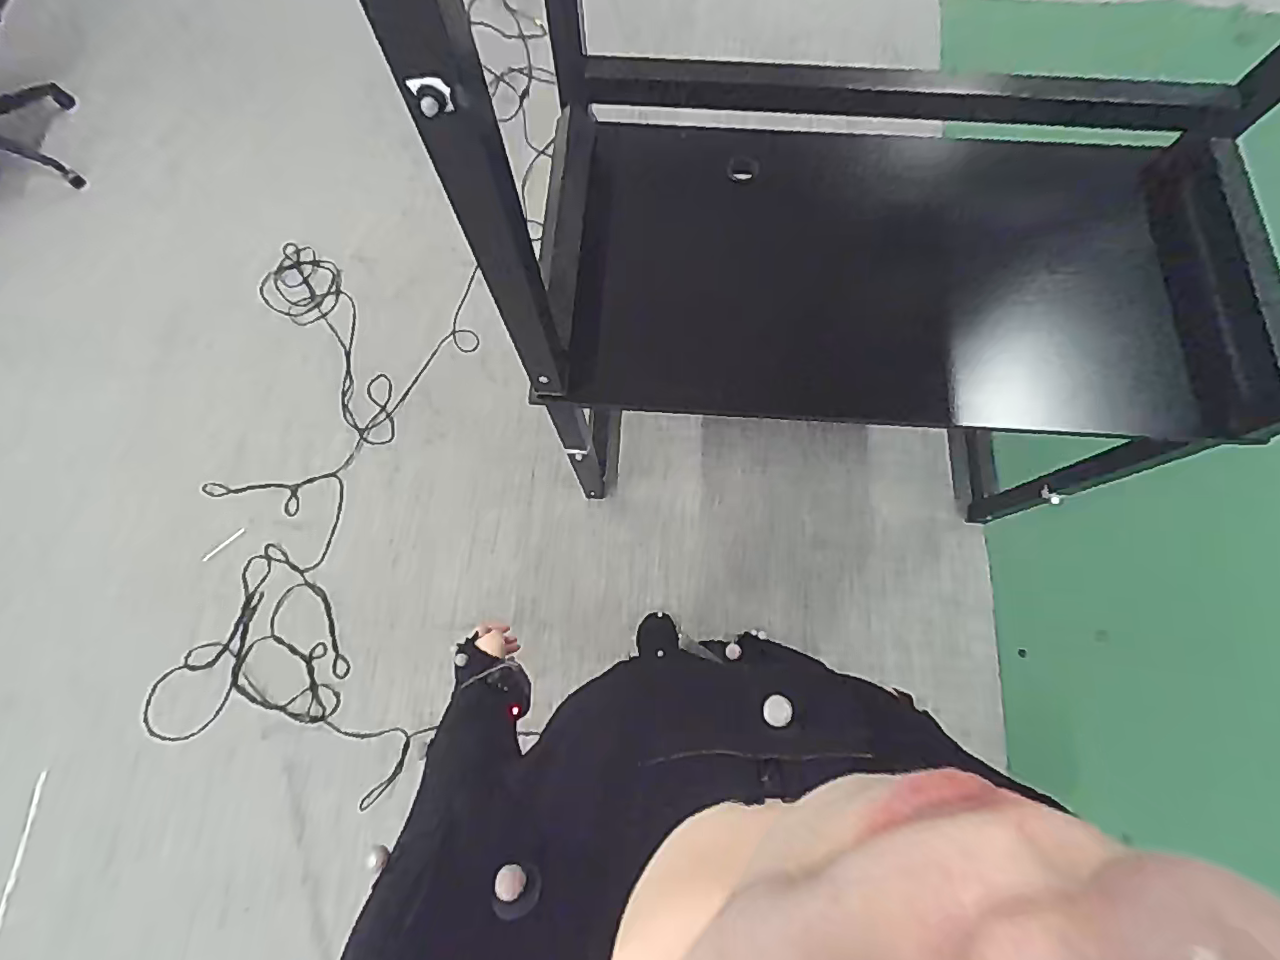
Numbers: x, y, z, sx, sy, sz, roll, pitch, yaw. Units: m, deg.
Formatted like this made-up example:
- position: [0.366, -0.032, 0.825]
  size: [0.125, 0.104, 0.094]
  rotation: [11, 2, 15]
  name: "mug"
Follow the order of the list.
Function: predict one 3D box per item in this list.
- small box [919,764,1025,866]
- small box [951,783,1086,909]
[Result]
- position: [0.785, 0.796, 1.285]
  size: [0.168, 0.176, 0.179]
  rotation: [7, 76, 3]
  name: "small box"
- position: [0.774, 0.751, 1.130]
  size: [0.179, 0.176, 0.168]
  rotation: [6, 76, 2]
  name: "small box"
